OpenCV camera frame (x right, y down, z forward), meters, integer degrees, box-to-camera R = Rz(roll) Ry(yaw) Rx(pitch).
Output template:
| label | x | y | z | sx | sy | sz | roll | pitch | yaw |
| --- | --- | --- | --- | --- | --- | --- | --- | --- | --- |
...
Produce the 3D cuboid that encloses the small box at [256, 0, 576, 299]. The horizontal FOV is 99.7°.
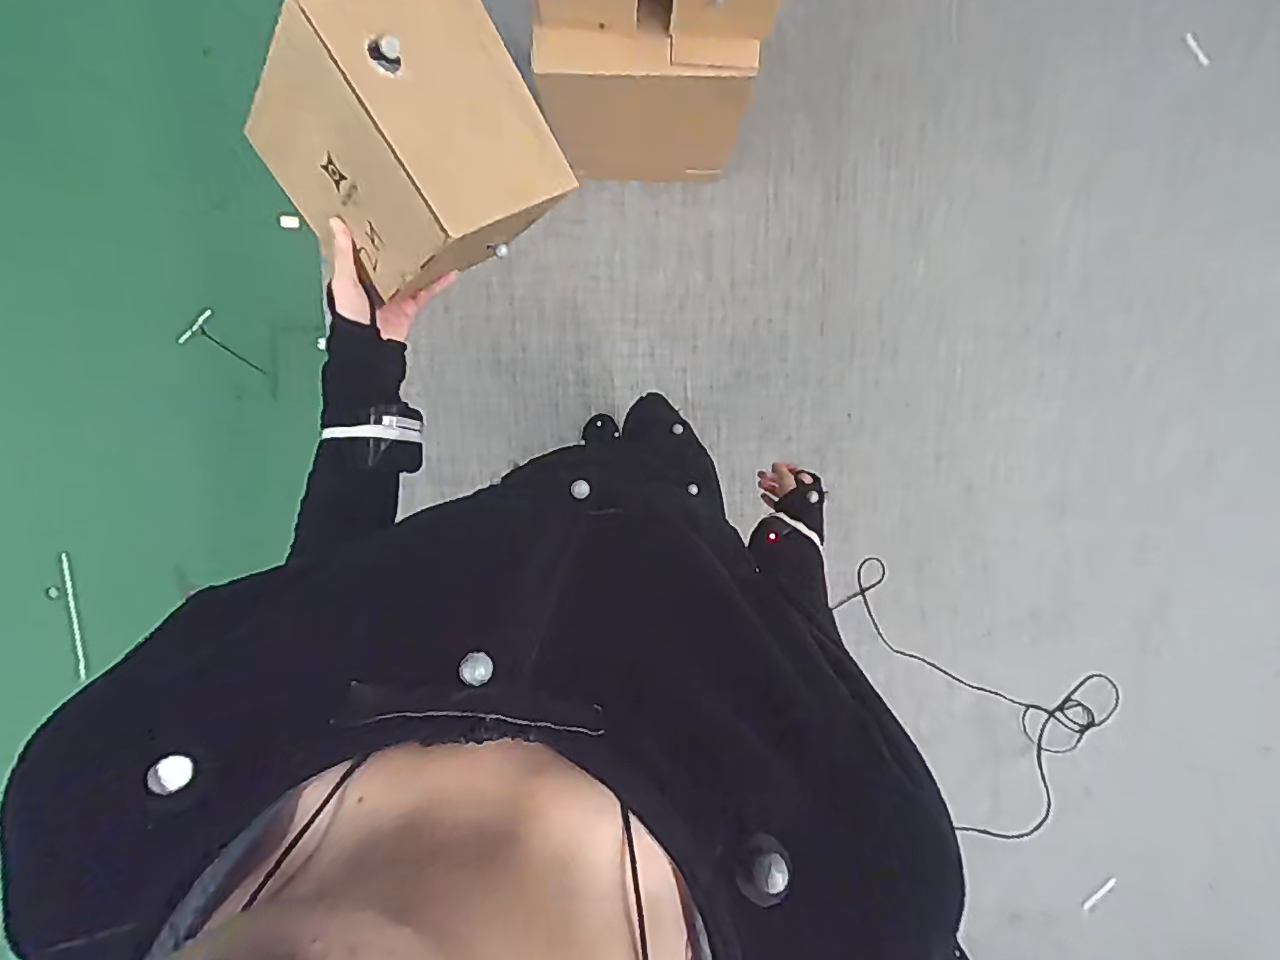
| label | x | y | z | sx | sy | sz | roll | pitch | yaw |
| --- | --- | --- | --- | --- | --- | --- | --- | --- | --- |
| small box | -0.195 | -0.300 | 0.493 | 0.176 | 0.168 | 0.179 | -48 | 116 | -37 |
